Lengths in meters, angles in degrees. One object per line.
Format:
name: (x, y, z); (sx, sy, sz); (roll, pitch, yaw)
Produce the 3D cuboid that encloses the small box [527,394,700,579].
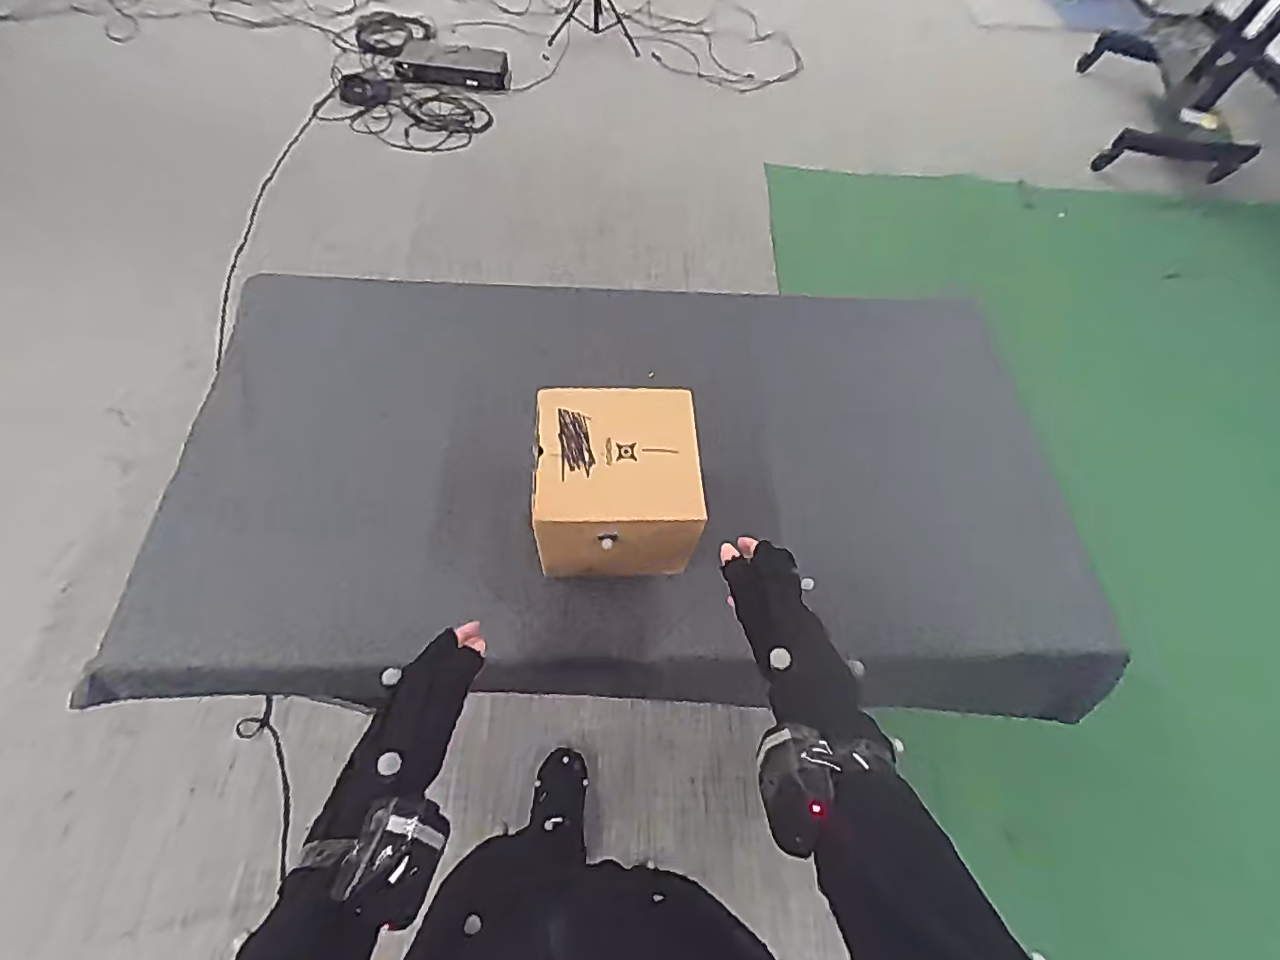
small box: (-0.033, 0.015, 0.645); (0.179, 0.176, 0.168); (0, 61, -5)
